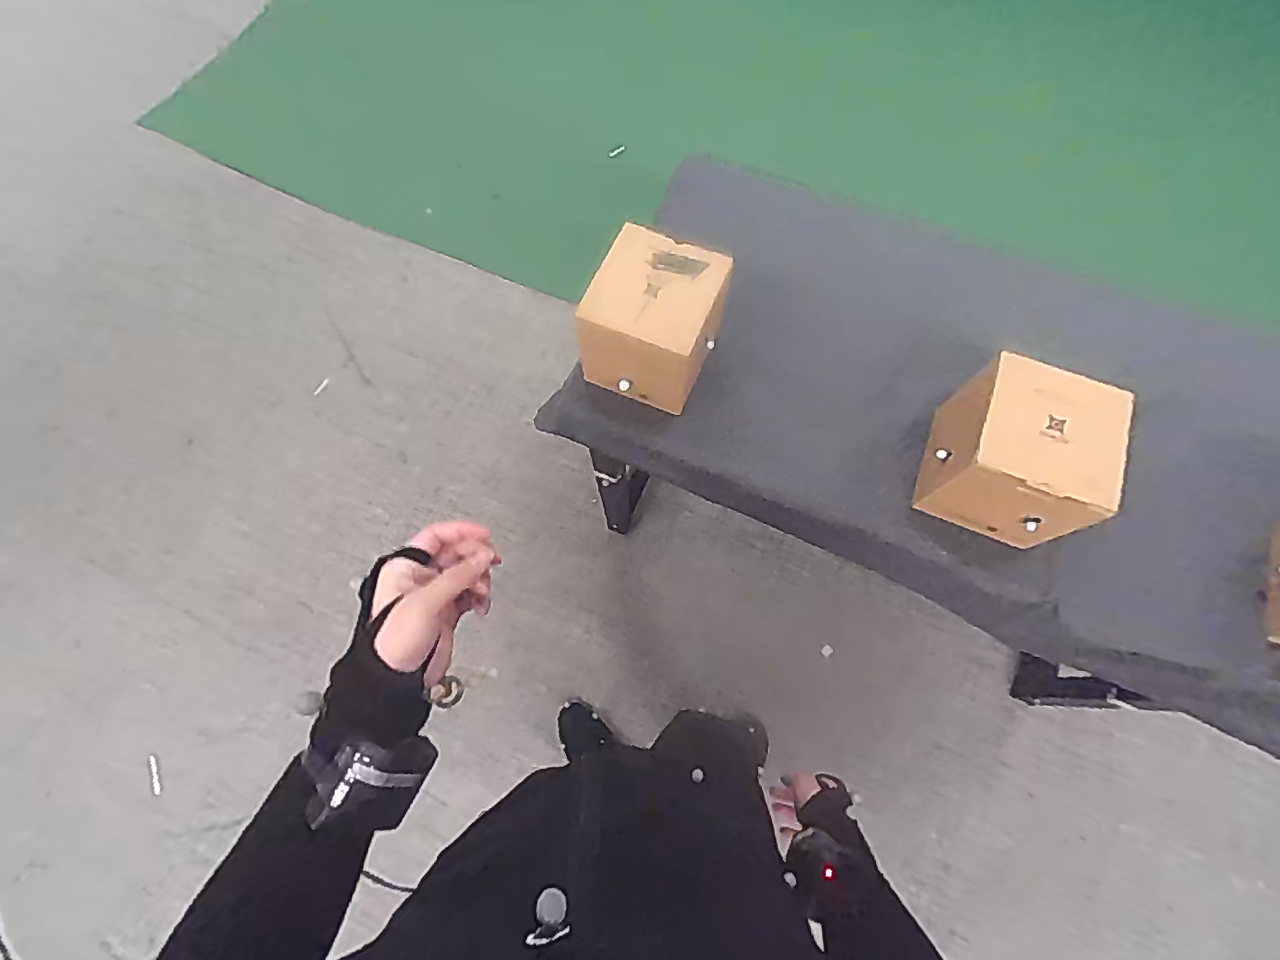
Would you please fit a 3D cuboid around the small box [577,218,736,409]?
[{"bbox_3d":[0.023,-0.237,0.795,0.168,0.176,0.179,23,71,8],"label":"small box"}]

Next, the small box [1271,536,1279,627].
[{"bbox_3d":[0.932,0.140,0.647,0.168,0.176,0.179,24,71,12],"label":"small box"}]

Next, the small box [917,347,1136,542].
[{"bbox_3d":[0.500,-0.037,0.722,0.168,0.176,0.179,23,69,7],"label":"small box"}]
